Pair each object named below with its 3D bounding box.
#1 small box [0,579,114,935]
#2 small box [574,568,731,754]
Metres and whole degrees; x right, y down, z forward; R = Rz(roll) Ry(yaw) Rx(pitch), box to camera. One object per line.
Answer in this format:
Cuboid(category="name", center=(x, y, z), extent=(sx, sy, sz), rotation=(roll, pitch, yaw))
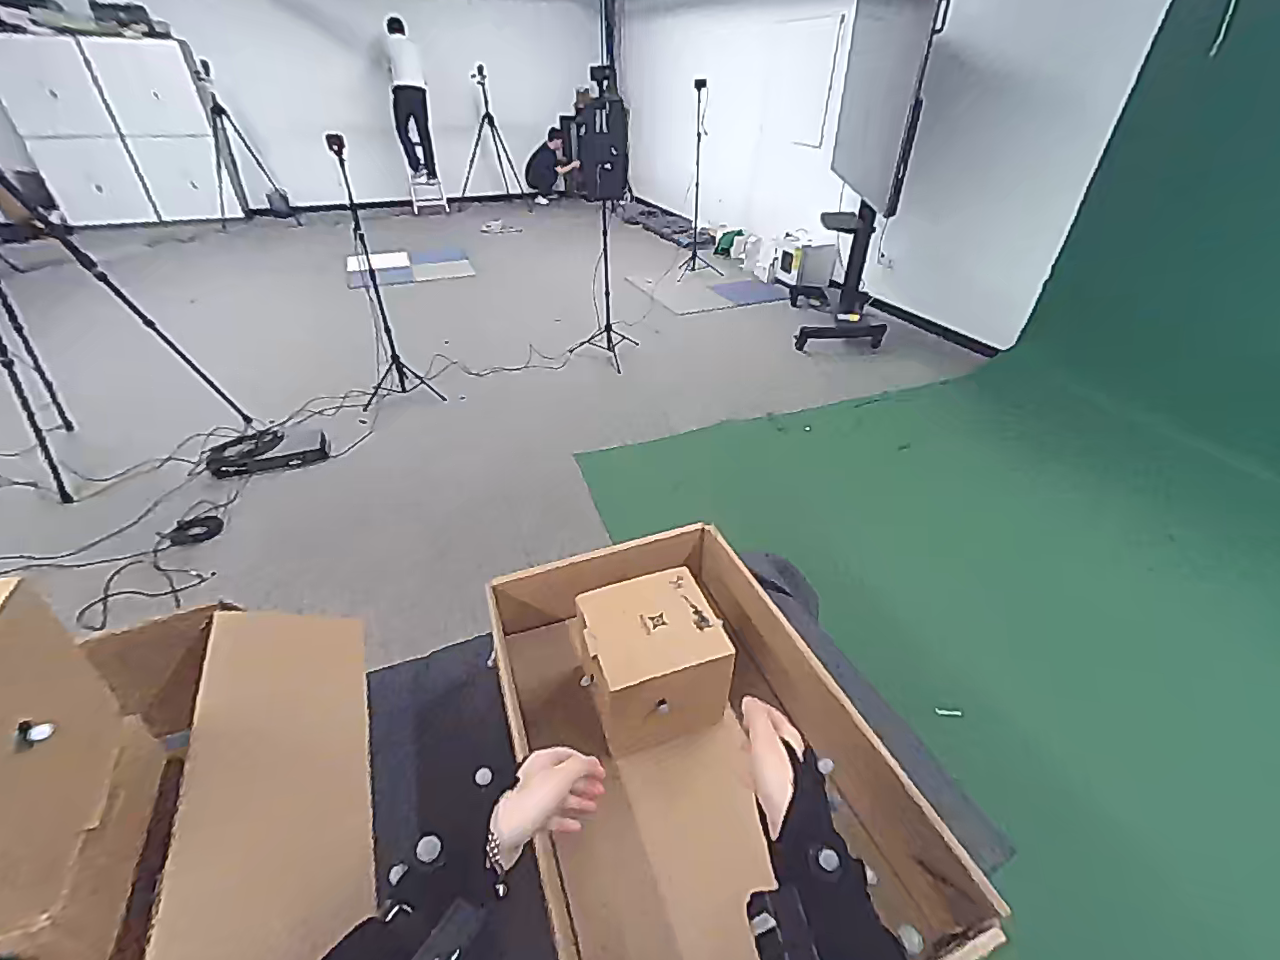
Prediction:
Cuboid(category="small box", center=(-0.508, 0.200, 0.363), extent=(0.168, 0.176, 0.179), rotation=(-10, 37, -23))
Cuboid(category="small box", center=(0.015, 0.261, 0.784), extent=(0.179, 0.176, 0.168), rotation=(-13, 40, -15))
